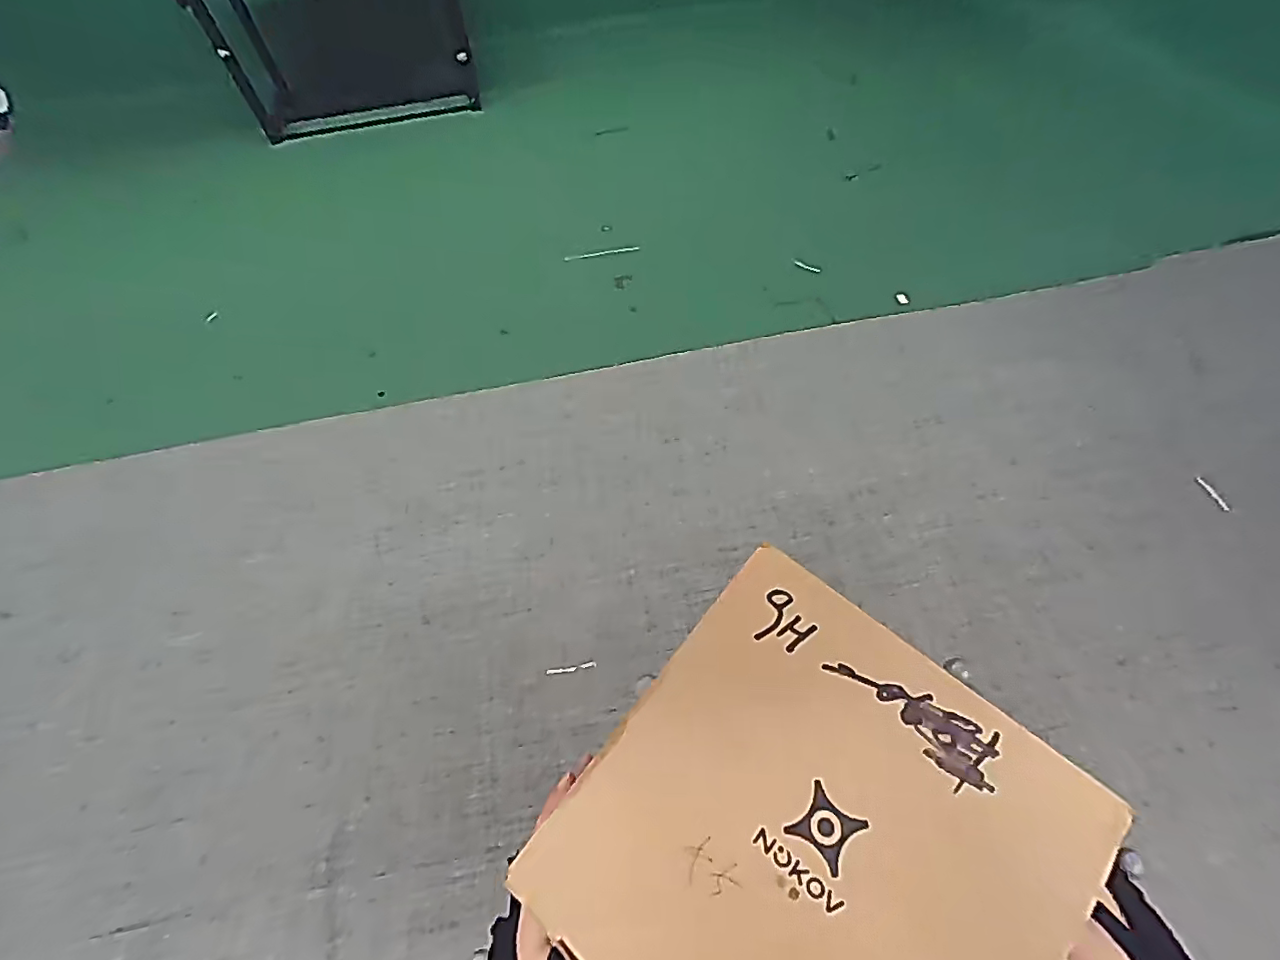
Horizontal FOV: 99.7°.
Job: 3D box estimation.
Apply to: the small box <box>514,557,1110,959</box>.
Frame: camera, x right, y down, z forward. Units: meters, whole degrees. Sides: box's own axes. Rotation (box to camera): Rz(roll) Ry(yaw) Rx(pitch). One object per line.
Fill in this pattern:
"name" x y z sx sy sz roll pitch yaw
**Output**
"small box" 0.072 0.173 0.285 0.168 0.176 0.179 37 77 18
